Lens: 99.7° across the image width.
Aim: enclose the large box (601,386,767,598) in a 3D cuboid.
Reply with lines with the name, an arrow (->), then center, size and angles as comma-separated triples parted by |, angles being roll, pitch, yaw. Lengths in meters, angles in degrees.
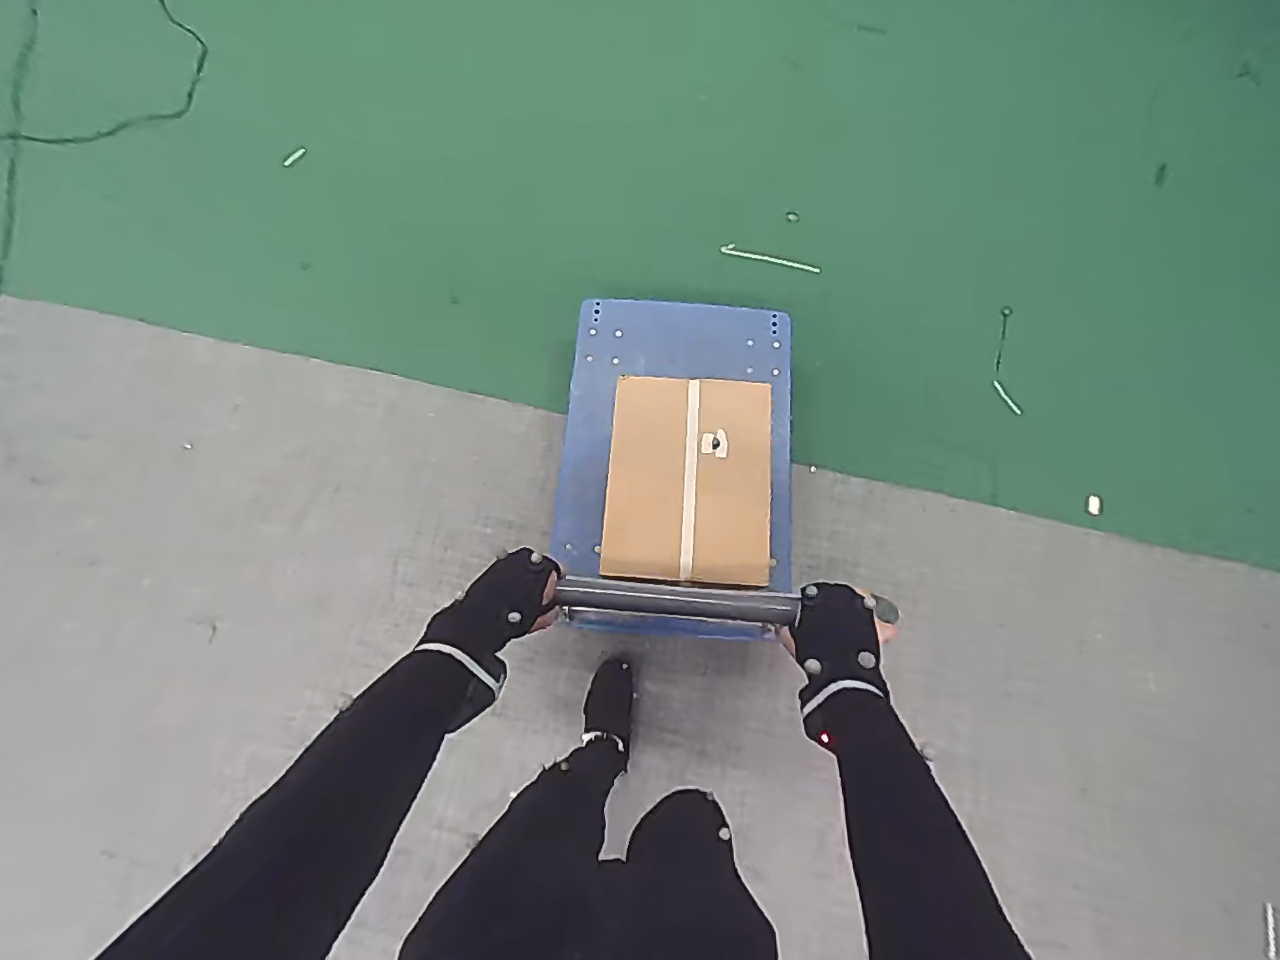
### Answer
large box -> 0.096, 0.045, 1.197 | 0.320, 0.320, 0.408 | 4, 74, 2
